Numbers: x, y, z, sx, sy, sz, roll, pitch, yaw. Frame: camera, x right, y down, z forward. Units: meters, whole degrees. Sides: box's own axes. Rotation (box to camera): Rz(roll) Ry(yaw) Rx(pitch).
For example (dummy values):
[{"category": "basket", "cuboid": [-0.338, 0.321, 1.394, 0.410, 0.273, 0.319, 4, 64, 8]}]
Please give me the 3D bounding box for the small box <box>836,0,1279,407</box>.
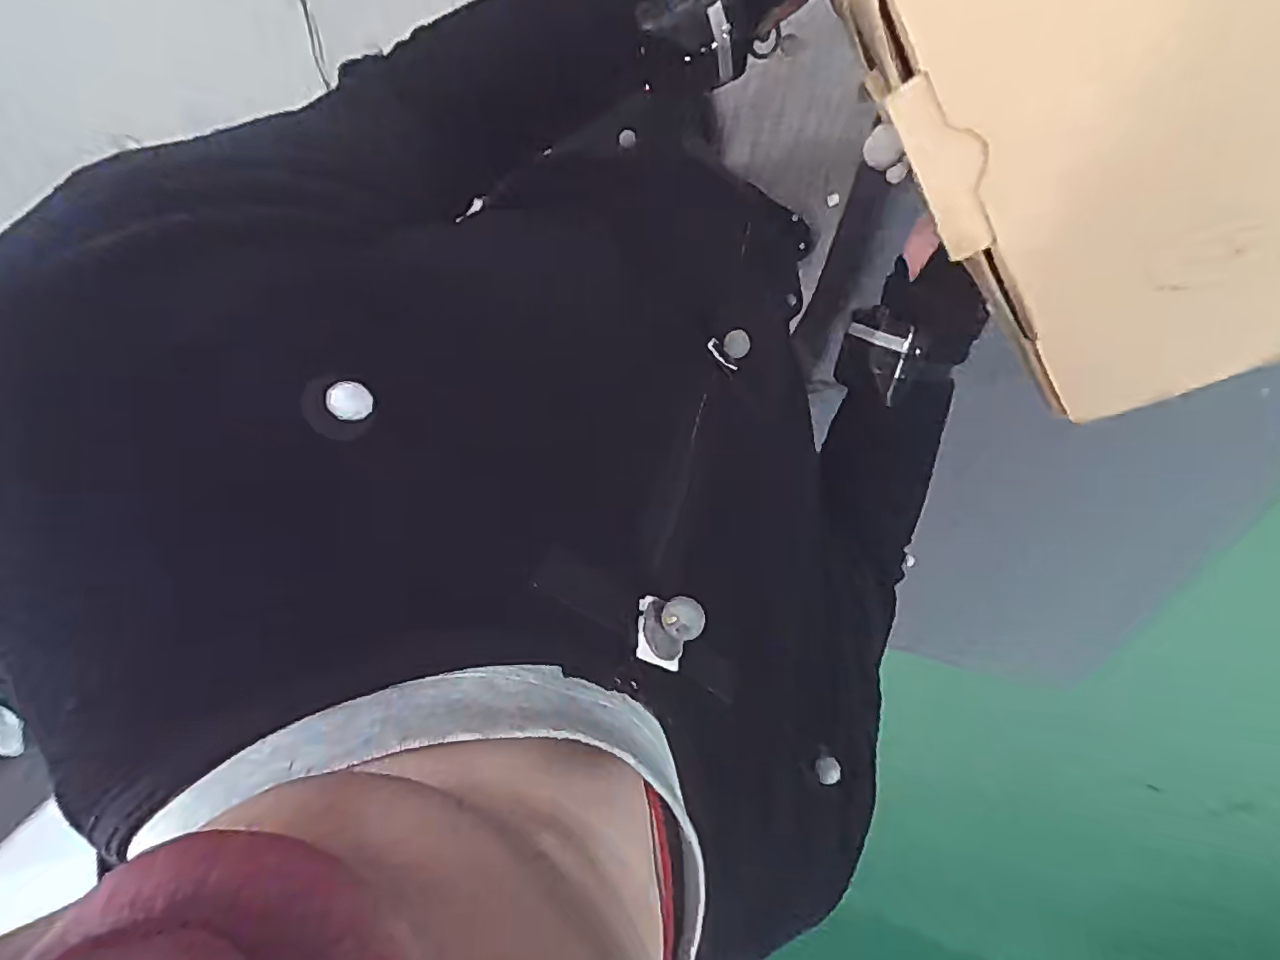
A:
[{"category": "small box", "cuboid": [0.155, -0.154, 0.137, 0.179, 0.176, 0.168, -25, 115, 36]}]
